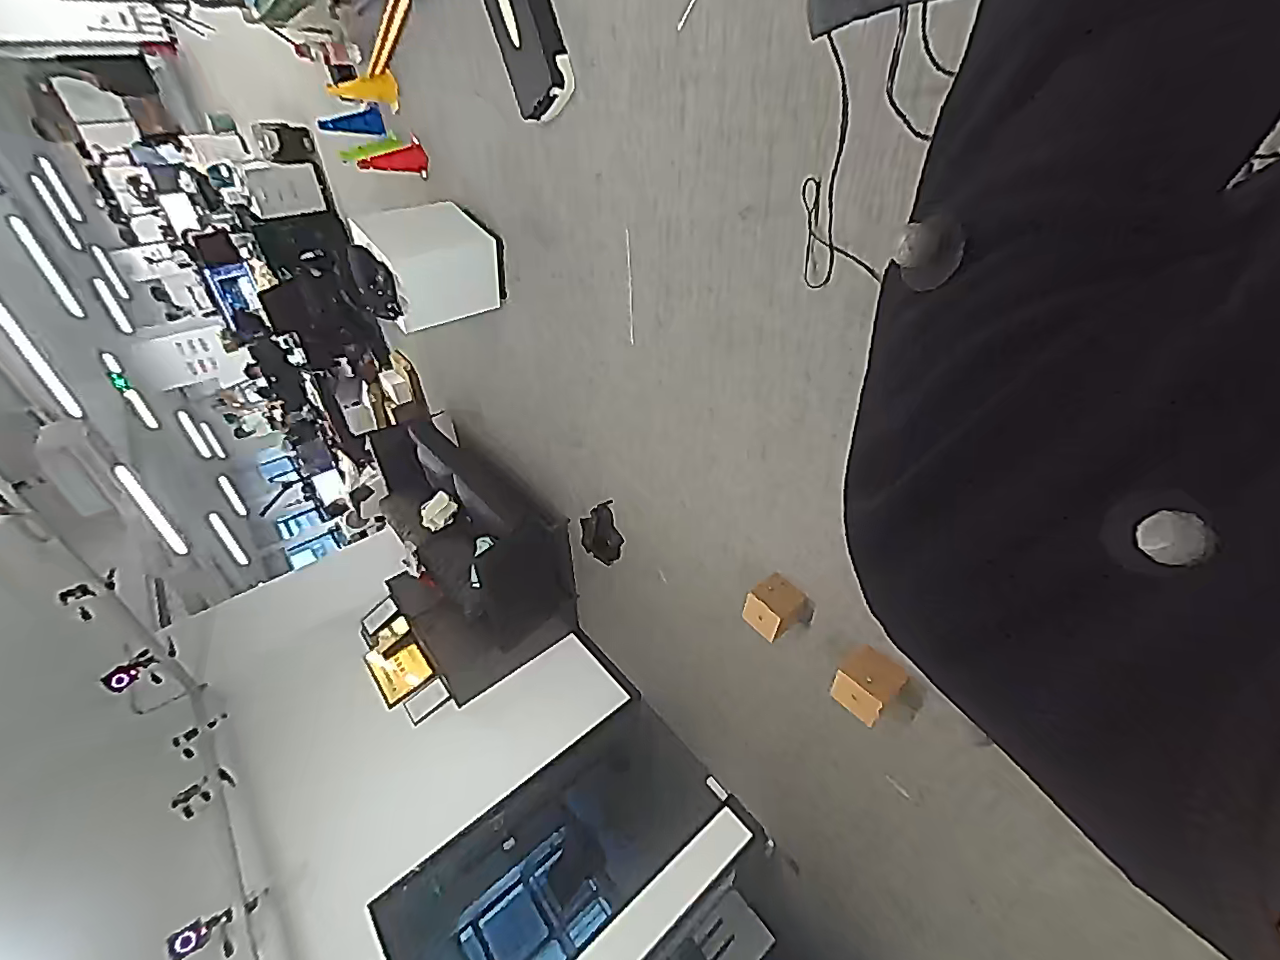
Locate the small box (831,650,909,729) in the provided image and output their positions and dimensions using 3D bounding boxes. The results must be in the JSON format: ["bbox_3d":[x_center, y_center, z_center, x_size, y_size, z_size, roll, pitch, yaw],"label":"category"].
[{"bbox_3d":[0.819,0.737,1.929,0.179,0.176,0.168,35,140,37],"label":"small box"}]

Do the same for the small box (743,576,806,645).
[{"bbox_3d":[0.543,0.520,2.178,0.168,0.176,0.179,40,144,35],"label":"small box"}]
